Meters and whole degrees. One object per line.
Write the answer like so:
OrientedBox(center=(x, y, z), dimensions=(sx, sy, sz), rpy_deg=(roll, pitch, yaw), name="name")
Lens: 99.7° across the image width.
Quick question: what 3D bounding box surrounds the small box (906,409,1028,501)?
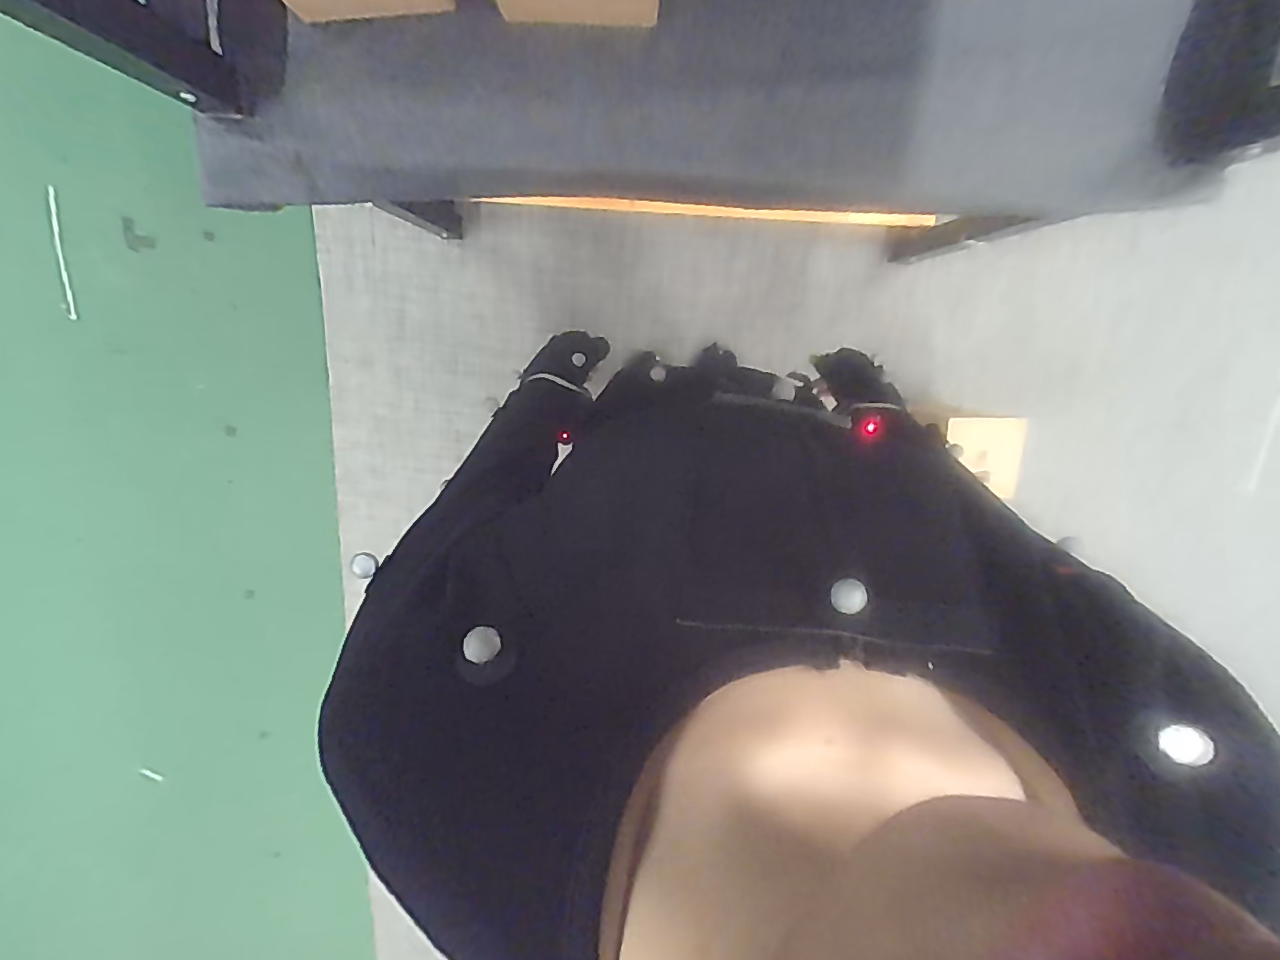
OrientedBox(center=(0.718, -0.061, 1.209), dimensions=(0.168, 0.176, 0.179), rpy_deg=(1, 103, 1), name="small box")
